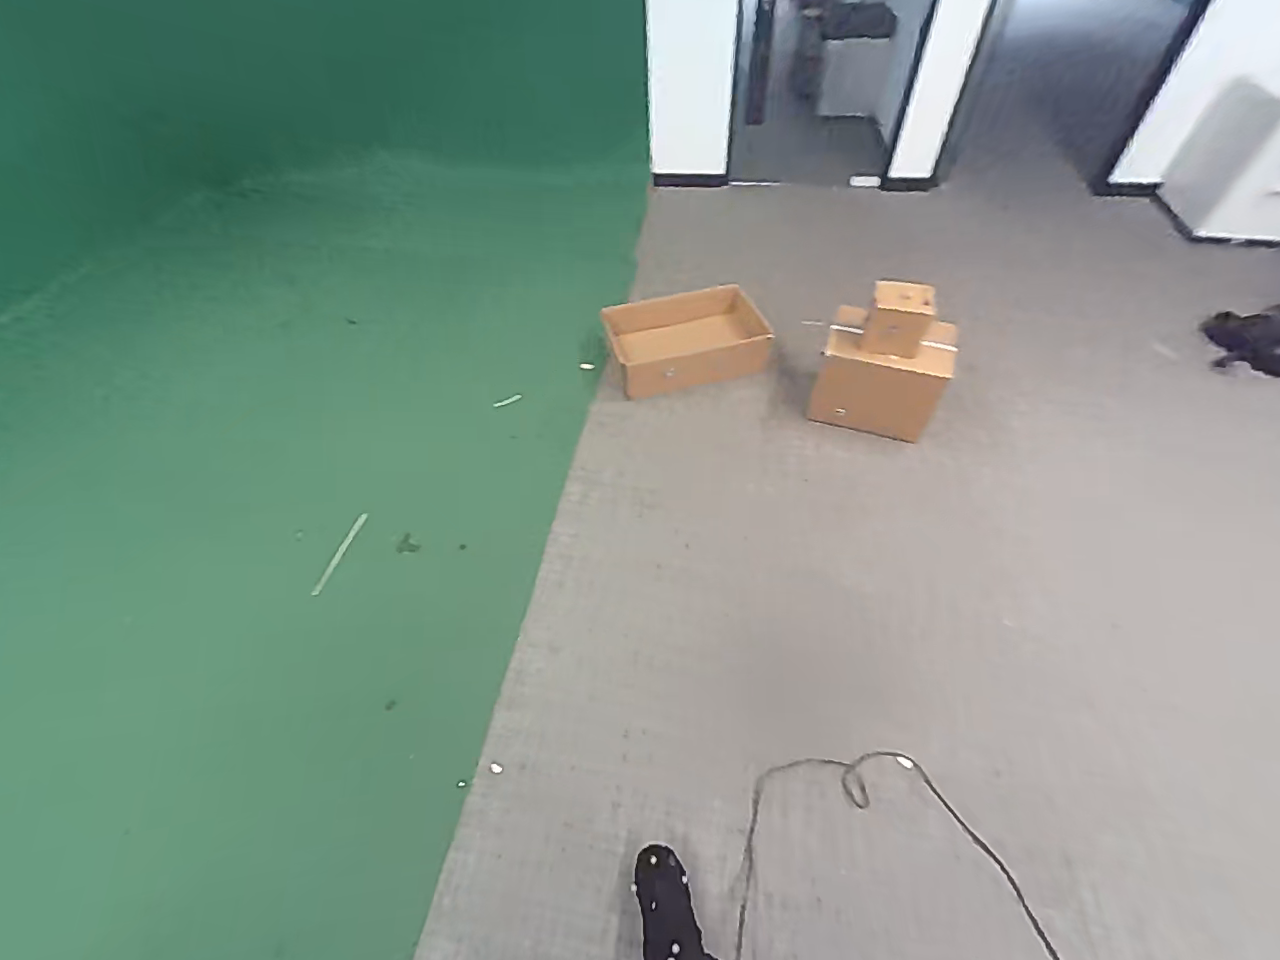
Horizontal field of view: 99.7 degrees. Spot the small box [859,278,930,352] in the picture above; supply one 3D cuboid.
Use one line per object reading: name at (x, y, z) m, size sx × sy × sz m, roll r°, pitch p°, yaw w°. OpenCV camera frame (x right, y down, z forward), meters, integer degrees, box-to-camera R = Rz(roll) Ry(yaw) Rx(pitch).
small box at (0.832, -0.541, 1.780) m, size 0.179 × 0.176 × 0.168 m, roll 11°, pitch 53°, yaw 12°
